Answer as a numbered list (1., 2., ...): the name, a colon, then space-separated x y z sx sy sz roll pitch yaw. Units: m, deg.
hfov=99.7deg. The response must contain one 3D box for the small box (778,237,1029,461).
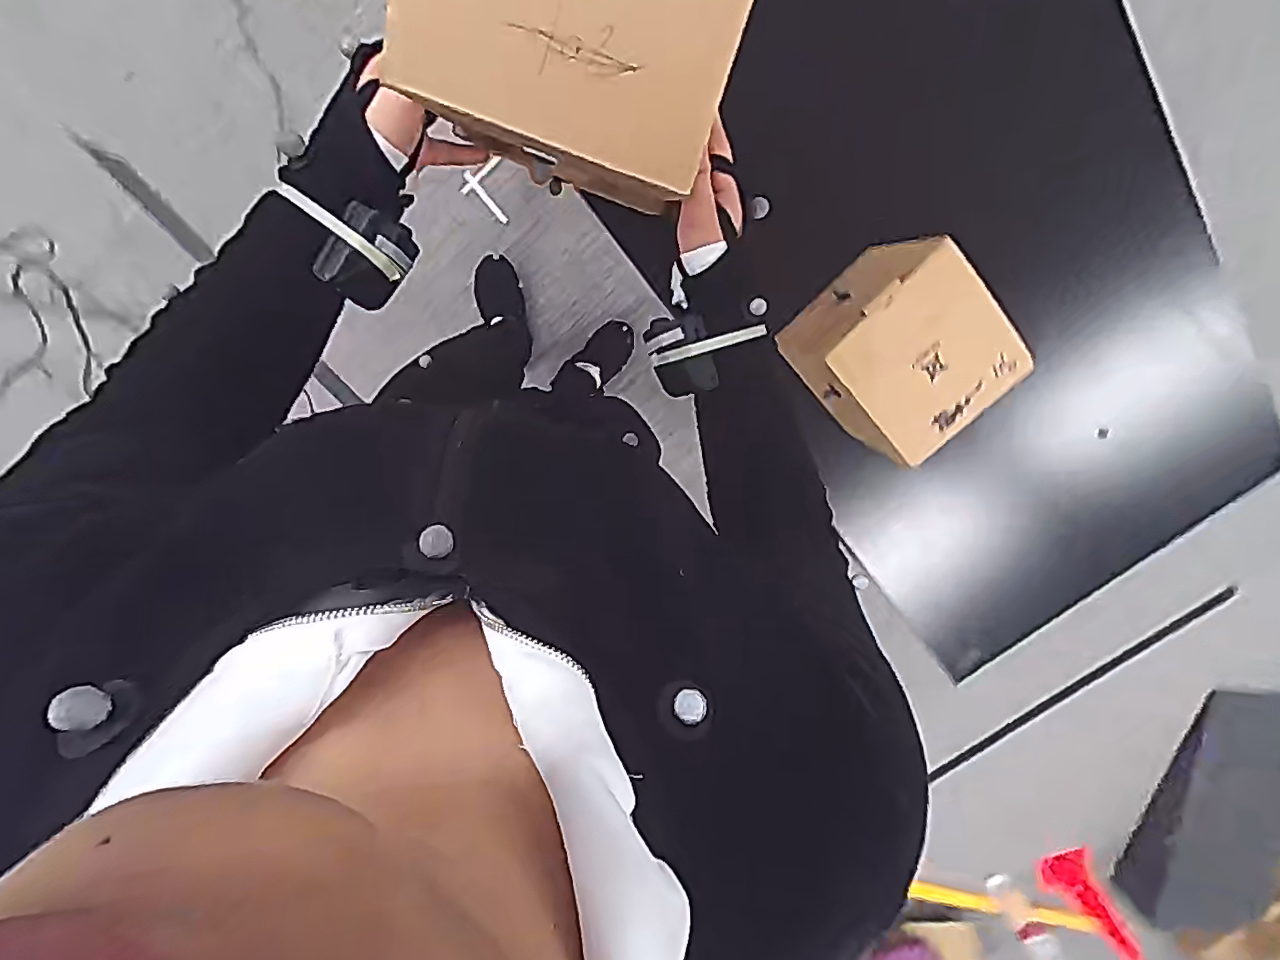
1. small box: 0.295 -0.153 0.644 0.168 0.176 0.179 -43 106 10

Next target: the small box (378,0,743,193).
1. small box: -0.033 -0.288 0.319 0.168 0.176 0.179 13 116 -10

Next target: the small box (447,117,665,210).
1. small box: -0.047 -0.351 0.469 0.179 0.176 0.168 14 114 -11
